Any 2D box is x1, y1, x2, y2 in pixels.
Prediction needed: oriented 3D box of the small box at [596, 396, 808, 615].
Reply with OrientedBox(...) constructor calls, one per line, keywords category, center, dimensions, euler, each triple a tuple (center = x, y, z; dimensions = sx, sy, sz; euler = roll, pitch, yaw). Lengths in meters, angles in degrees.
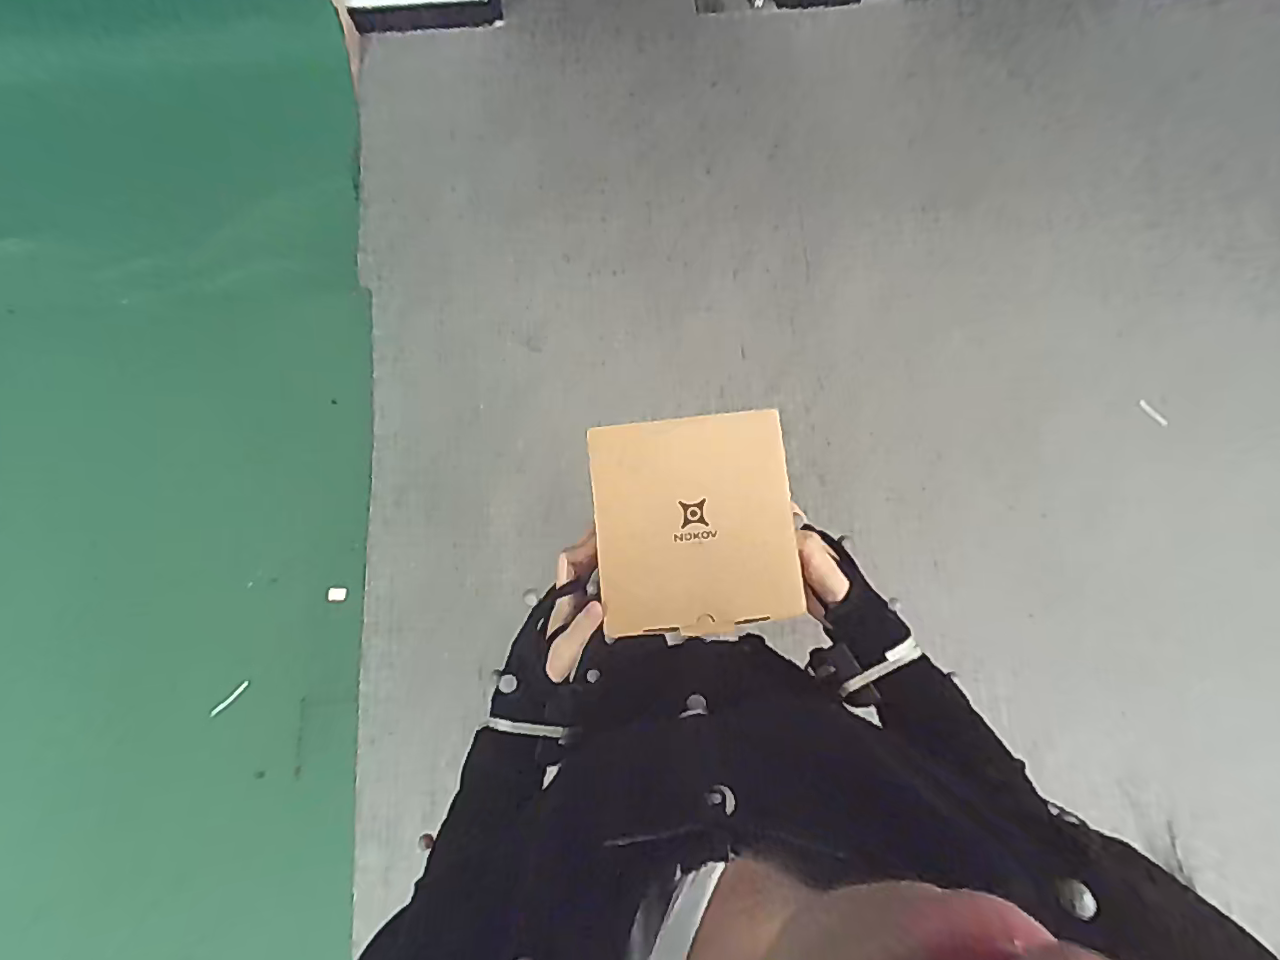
OrientedBox(category="small box", center=(0.049, 0.032, 0.534), dimensions=(0.168, 0.176, 0.179), euler=(-6, 81, 0))
